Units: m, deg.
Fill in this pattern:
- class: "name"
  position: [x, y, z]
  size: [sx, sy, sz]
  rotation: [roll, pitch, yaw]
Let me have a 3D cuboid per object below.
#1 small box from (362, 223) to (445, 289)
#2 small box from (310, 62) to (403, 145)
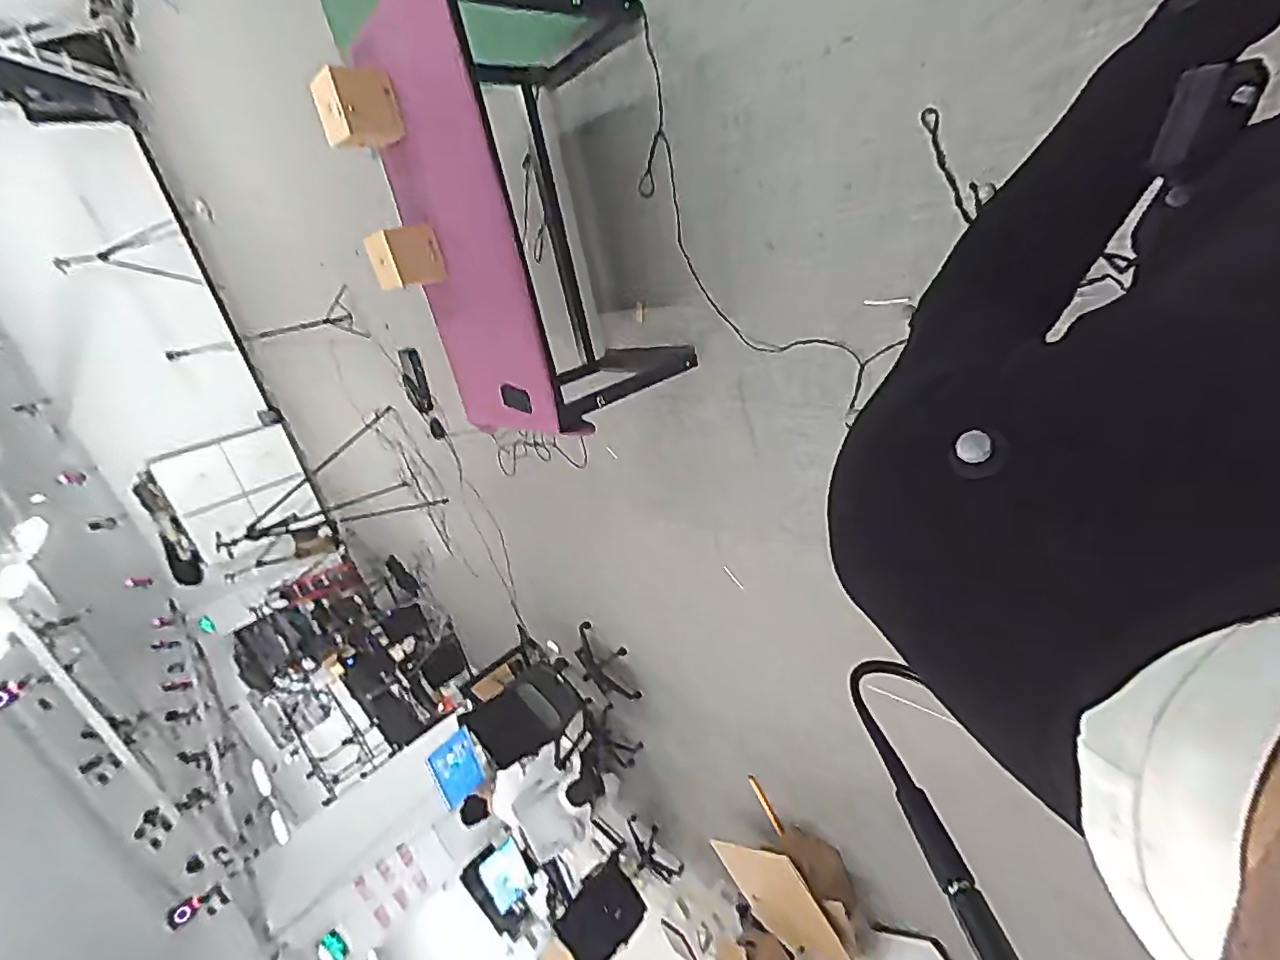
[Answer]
- class: "small box"
  position: [-0.765, -0.727, 1.757]
  size: [0.179, 0.176, 0.168]
  rotation: [11, 122, 44]
- class: "small box"
  position: [-0.827, -1.096, 1.585]
  size: [0.179, 0.176, 0.168]
  rotation: [15, 125, 43]
